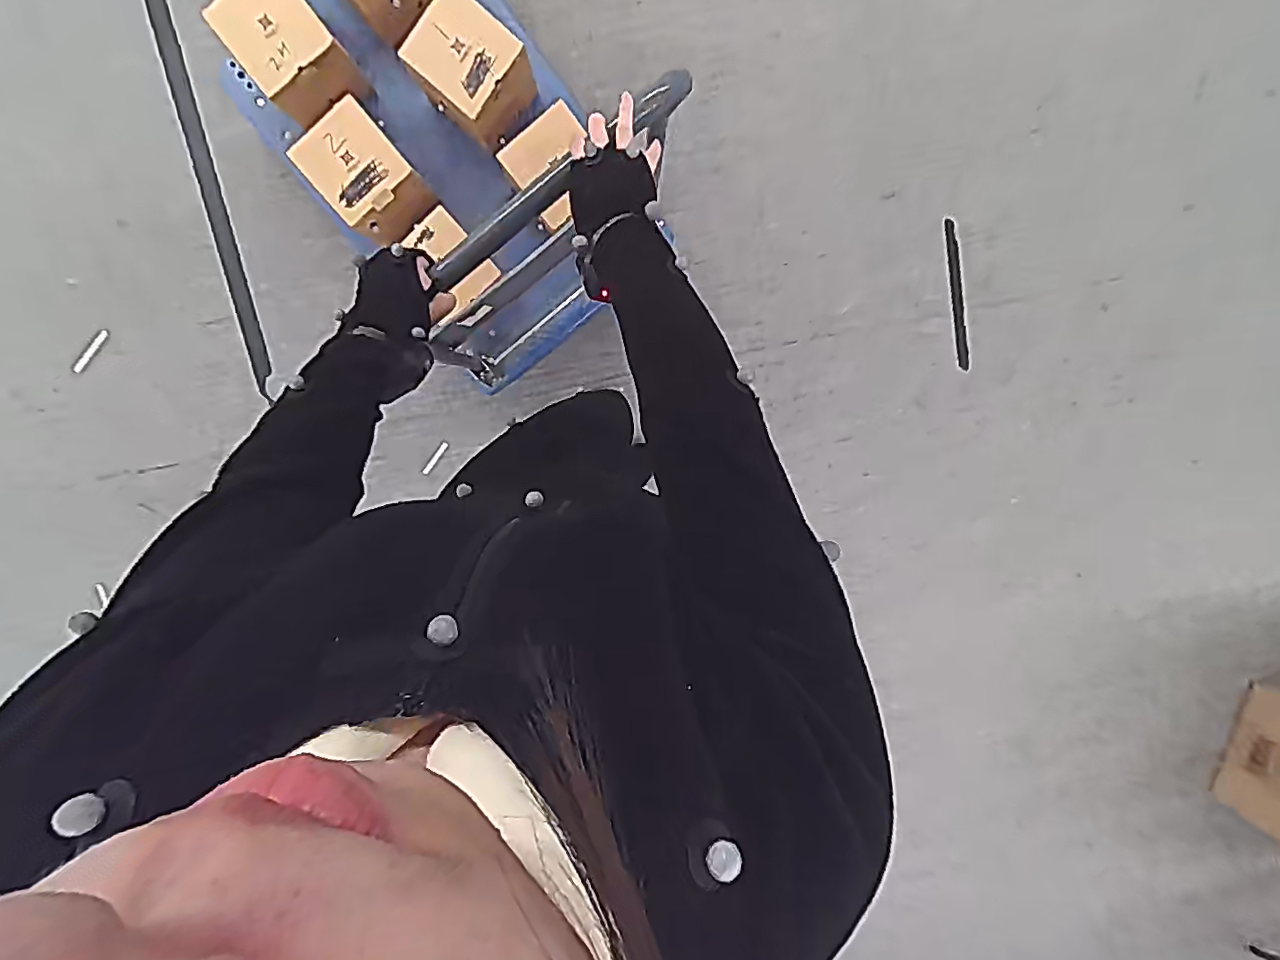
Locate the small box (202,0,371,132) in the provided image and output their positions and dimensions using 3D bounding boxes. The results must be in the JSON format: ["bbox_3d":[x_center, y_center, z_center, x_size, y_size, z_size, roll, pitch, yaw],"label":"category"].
[{"bbox_3d":[-0.674,-0.833,1.053,0.168,0.176,0.179,-37,101,5],"label":"small box"}]

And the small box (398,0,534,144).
[{"bbox_3d":[-0.332,-0.809,1.074,0.179,0.176,0.168,38,97,-8],"label":"small box"}]

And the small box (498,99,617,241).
[{"bbox_3d":[-0.160,-0.621,1.117,0.168,0.176,0.179,-38,99,4],"label":"small box"}]

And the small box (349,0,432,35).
[{"bbox_3d":[-0.516,-1.005,1.030,0.168,0.176,0.179,-42,99,5],"label":"small box"}]

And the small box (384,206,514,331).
[{"bbox_3d":[-0.389,-0.431,1.140,0.168,0.176,0.179,-42,100,4],"label":"small box"}]
